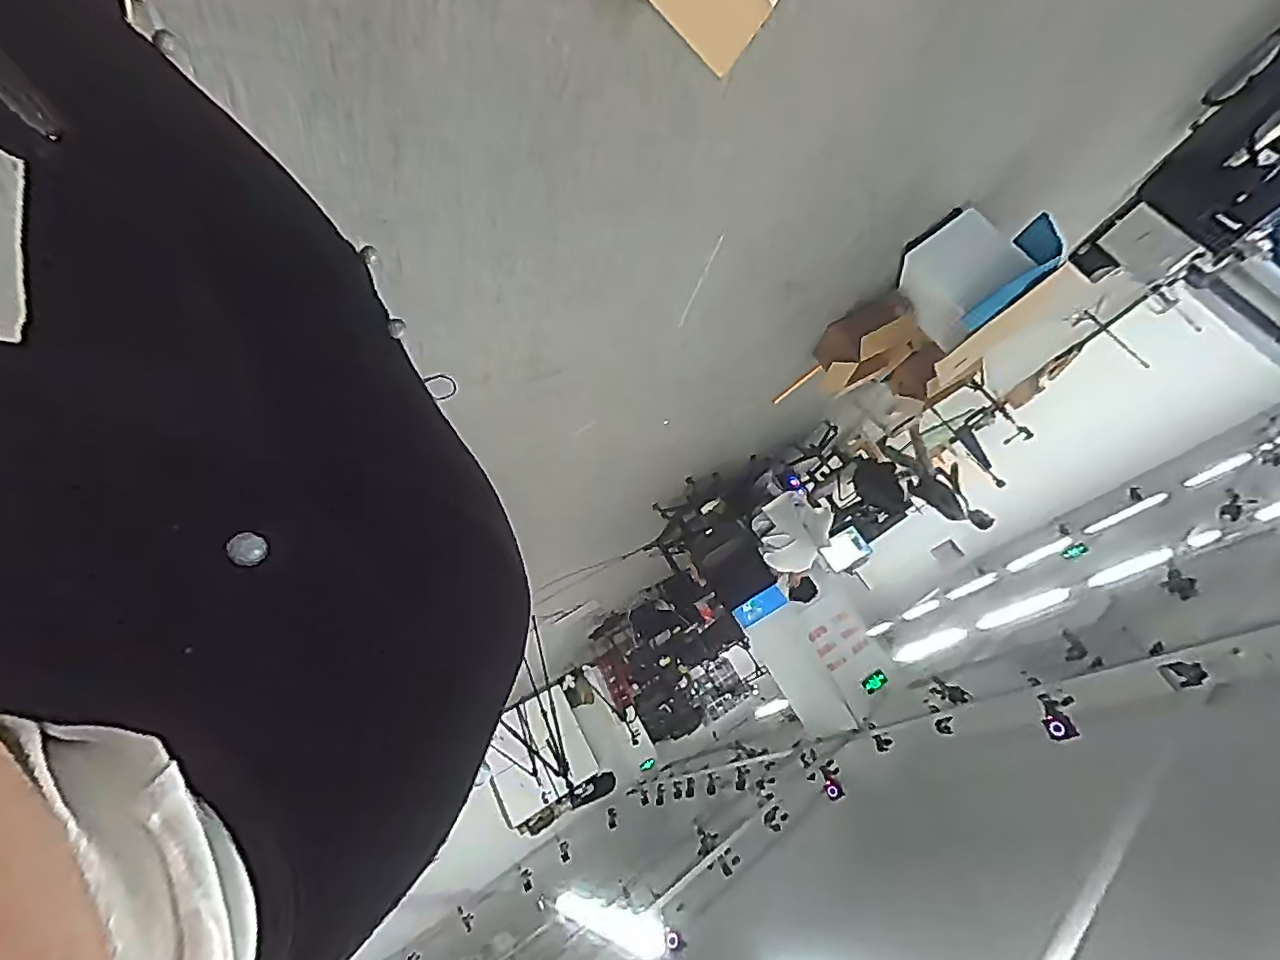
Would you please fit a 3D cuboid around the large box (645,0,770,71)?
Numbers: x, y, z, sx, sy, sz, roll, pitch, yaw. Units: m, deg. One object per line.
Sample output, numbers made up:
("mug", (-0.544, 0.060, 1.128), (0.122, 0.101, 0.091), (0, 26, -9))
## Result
("large box", (0.062, -1.046, 0.941), (0.320, 0.320, 0.408), (-44, 157, 31))
